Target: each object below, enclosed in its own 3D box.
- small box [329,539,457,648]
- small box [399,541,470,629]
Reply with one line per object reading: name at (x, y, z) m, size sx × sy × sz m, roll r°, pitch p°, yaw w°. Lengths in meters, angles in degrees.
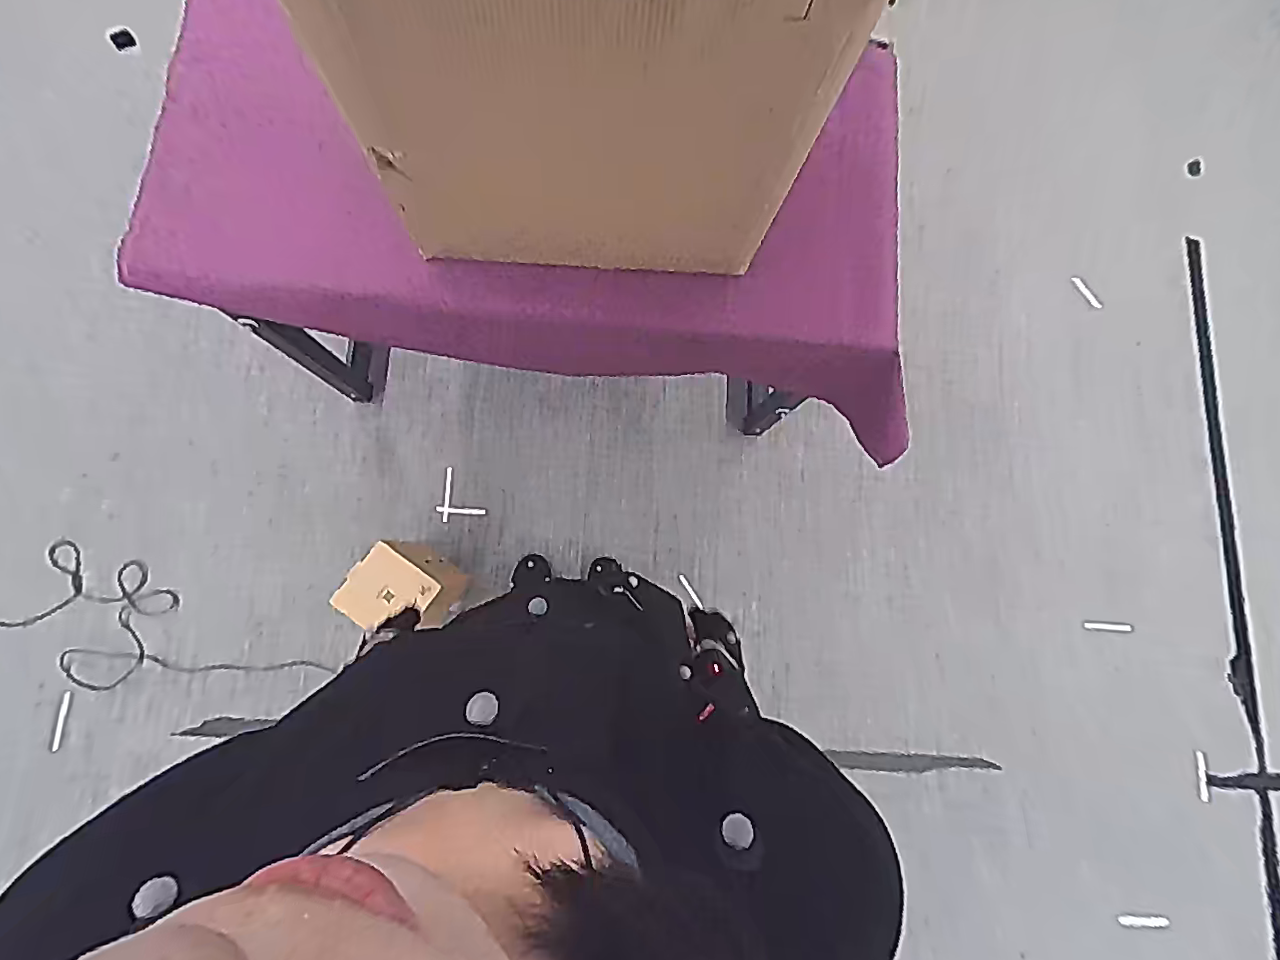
small box at (-0.548, 0.254, 1.225) m, size 0.179 × 0.176 × 0.168 m, roll 37°, pitch 80°, yaw 1°
small box at (-0.566, 0.274, 1.387) m, size 0.179 × 0.176 × 0.168 m, roll 35°, pitch 80°, yaw 0°
